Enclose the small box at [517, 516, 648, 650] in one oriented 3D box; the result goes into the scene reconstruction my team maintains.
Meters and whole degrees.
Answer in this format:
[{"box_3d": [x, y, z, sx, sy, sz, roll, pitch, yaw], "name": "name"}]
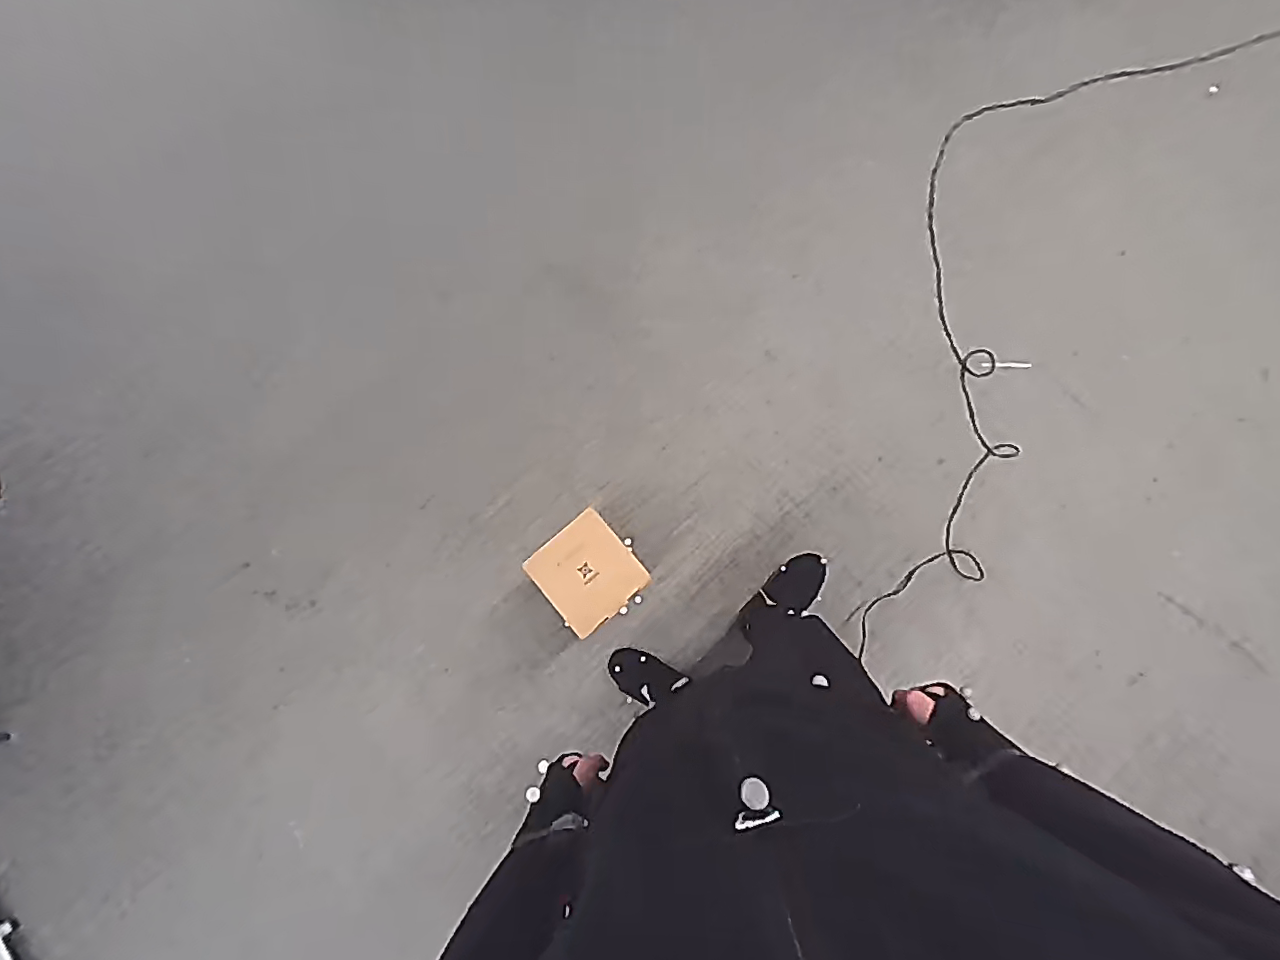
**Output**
[{"box_3d": [-0.100, 0.193, 1.025, 0.168, 0.176, 0.179, -40, 80, -9], "name": "small box"}]
